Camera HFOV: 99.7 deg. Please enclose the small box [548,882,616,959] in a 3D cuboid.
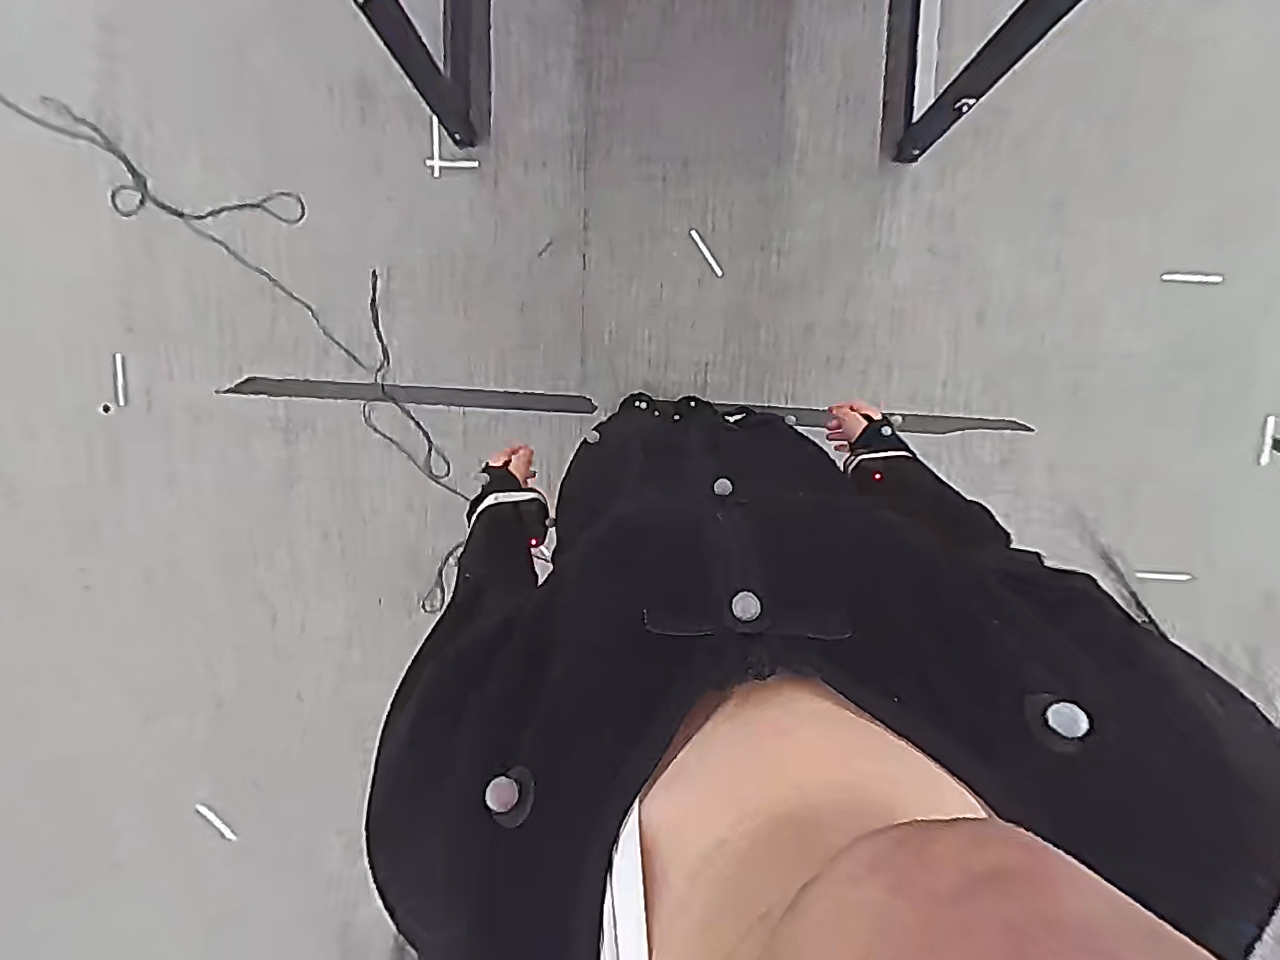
[{"bbox_3d":[-0.157,1.279,1.518,0.168,0.176,0.179,-4,97,0],"label":"small box"}]
